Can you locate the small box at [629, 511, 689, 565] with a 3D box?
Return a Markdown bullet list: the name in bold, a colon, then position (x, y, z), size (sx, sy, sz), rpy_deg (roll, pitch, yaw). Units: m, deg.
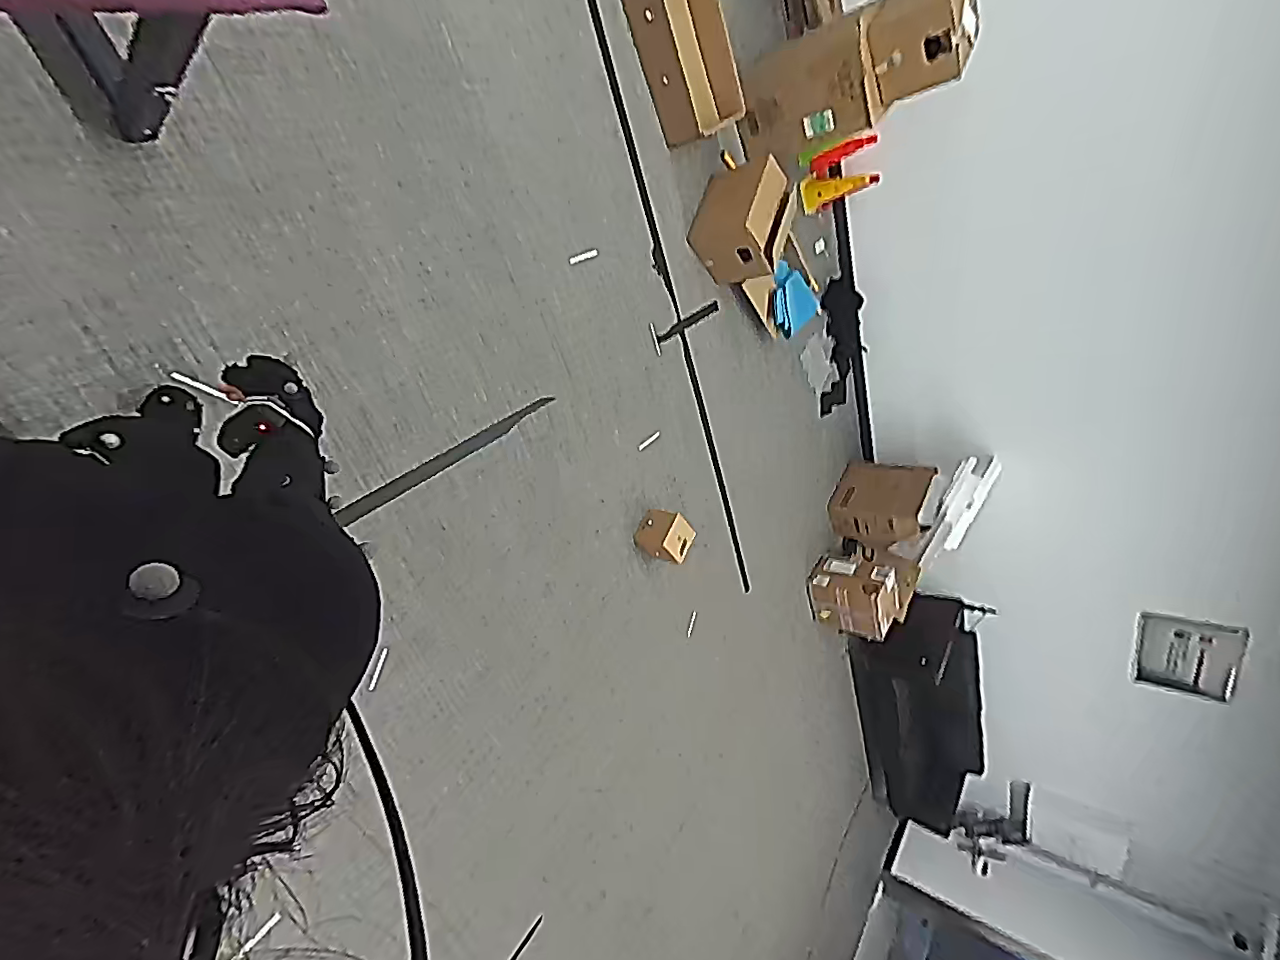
- **small box**: position (0.085, 0.252, 2.395), size (0.179, 0.176, 0.168), rpy_deg (51, 58, -39)
